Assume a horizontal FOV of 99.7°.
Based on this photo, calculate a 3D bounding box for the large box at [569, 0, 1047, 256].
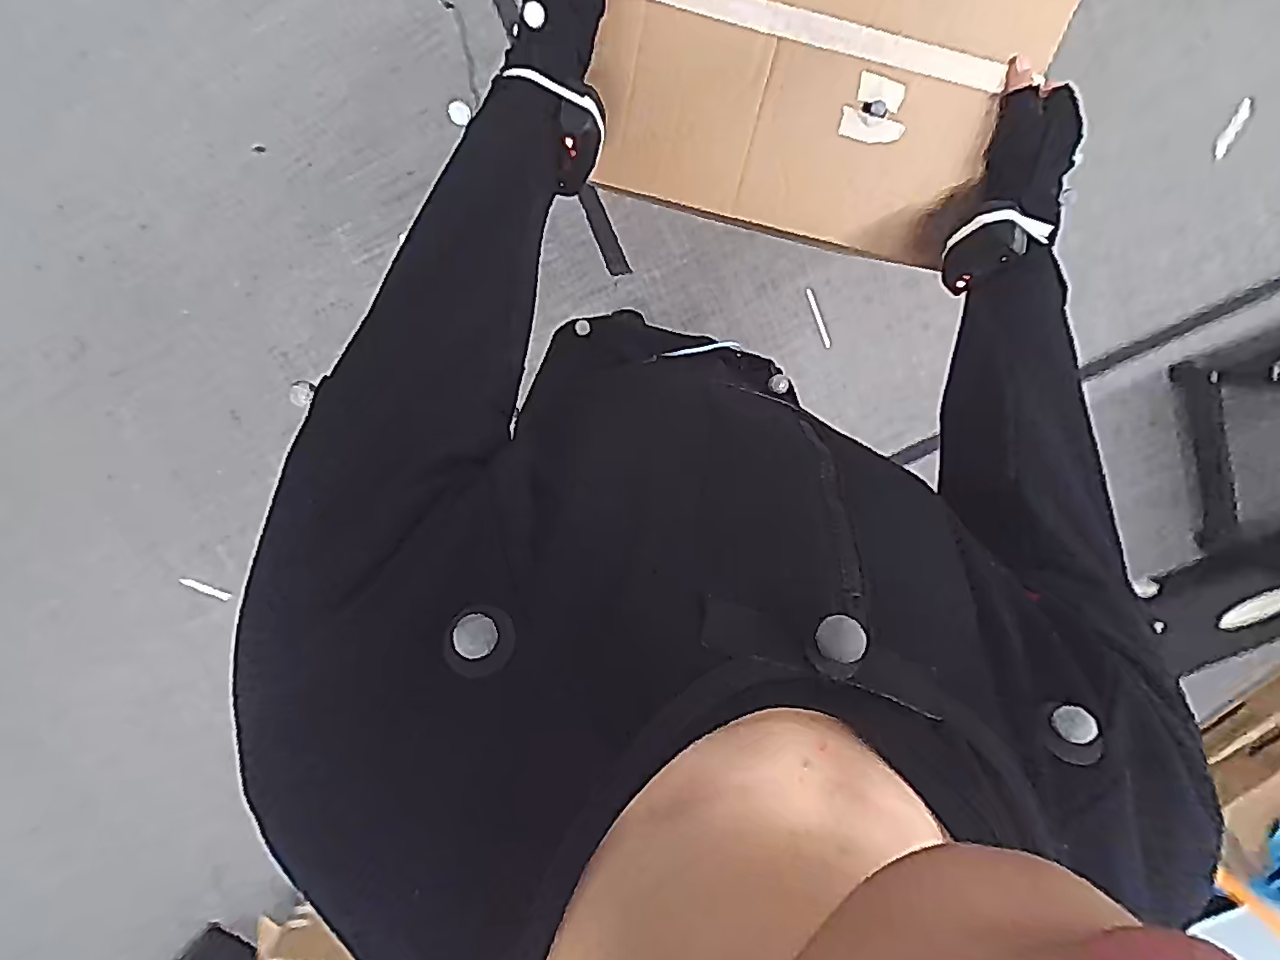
[{"bbox_3d":[0.150,-0.467,0.620,0.408,0.320,0.320,11,117,-5],"label":"large box"}]
